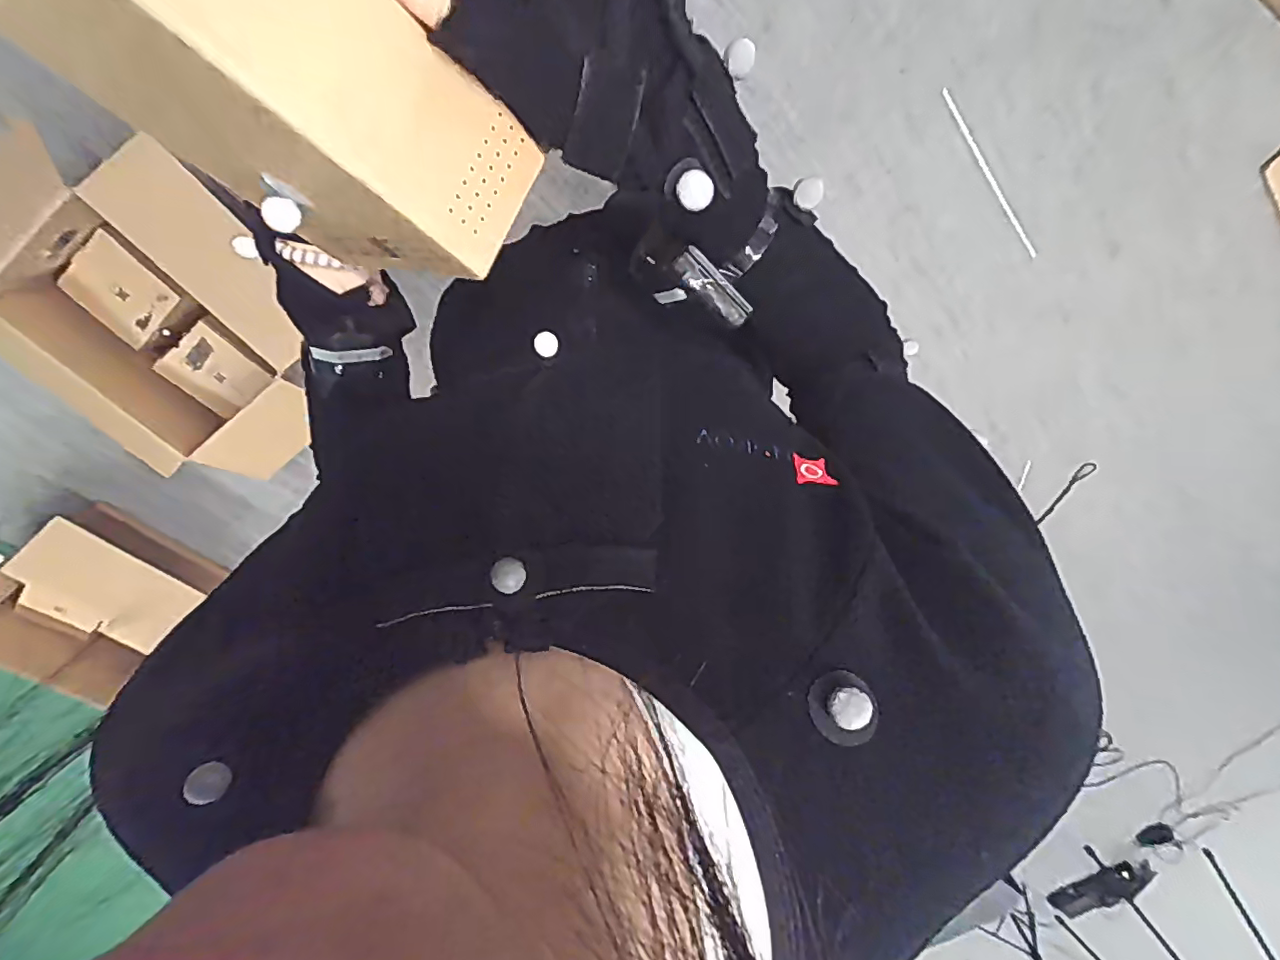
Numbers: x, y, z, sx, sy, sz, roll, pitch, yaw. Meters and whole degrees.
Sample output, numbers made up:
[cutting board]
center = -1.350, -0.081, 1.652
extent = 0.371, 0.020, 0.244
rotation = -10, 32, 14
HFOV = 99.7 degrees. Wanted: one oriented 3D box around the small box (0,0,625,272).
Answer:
[small box]
center = -0.128, -0.217, 0.224
extent = 0.176, 0.168, 0.179
rotation = 30, 84, -52
